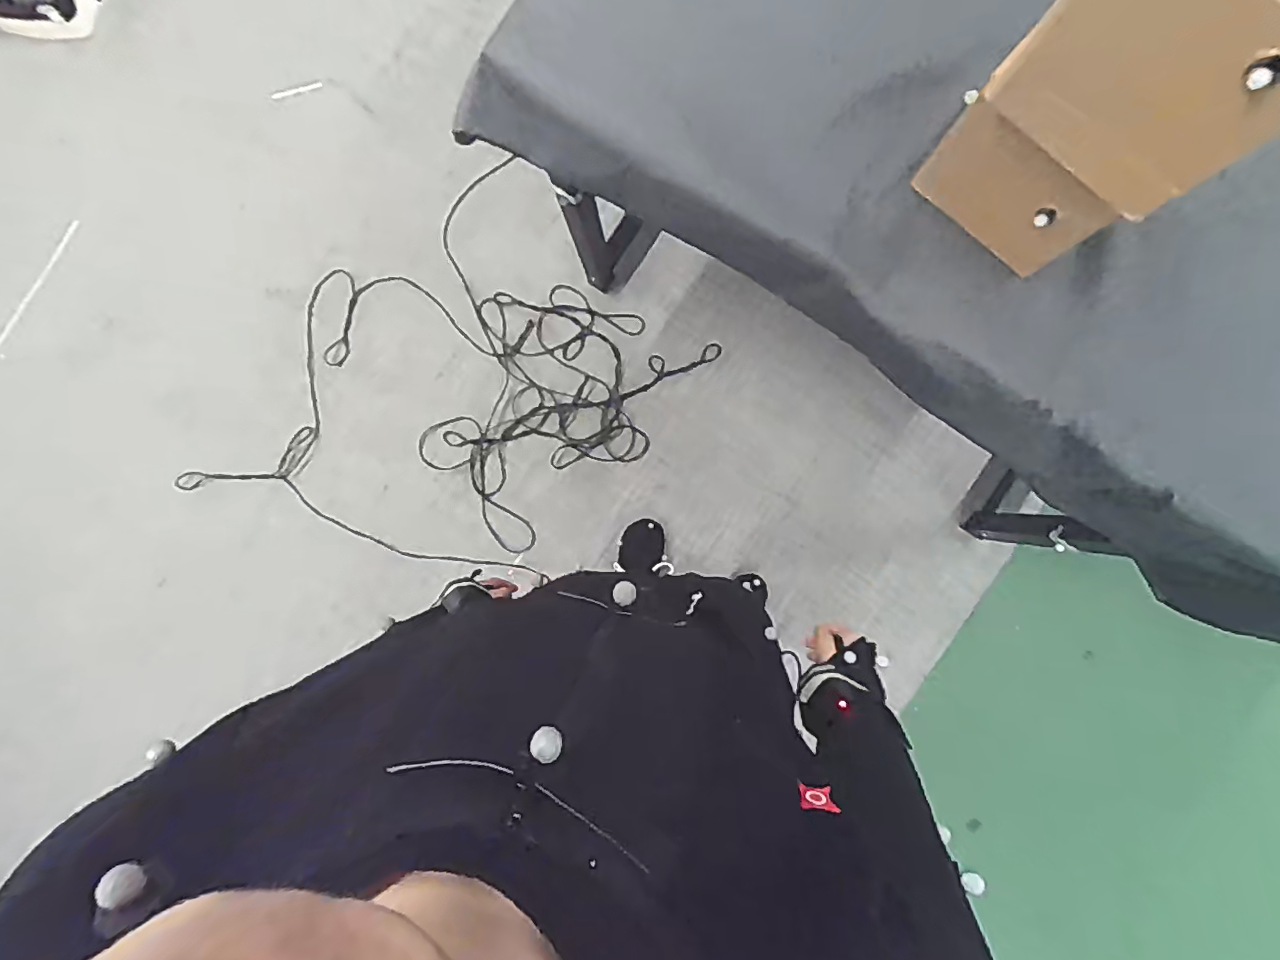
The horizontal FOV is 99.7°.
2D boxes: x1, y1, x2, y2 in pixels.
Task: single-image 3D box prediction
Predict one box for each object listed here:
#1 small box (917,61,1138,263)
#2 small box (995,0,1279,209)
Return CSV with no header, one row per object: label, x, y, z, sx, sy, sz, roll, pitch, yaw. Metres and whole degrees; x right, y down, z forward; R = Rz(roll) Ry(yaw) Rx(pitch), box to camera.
small box,0.435,-0.356,0.556,0.179,0.176,0.168,42,89,4
small box,0.417,-0.345,0.394,0.179,0.176,0.168,43,89,3
